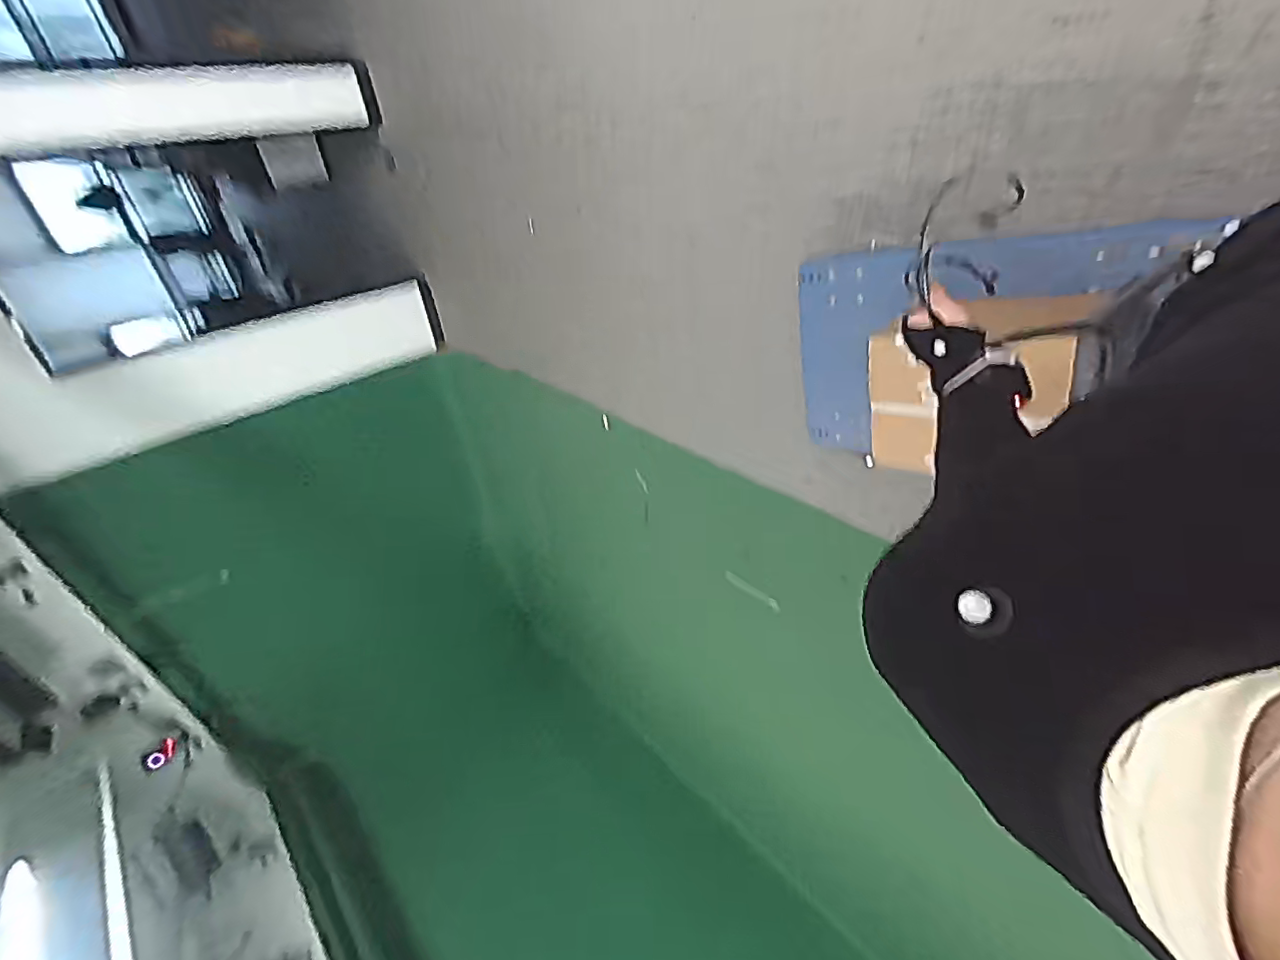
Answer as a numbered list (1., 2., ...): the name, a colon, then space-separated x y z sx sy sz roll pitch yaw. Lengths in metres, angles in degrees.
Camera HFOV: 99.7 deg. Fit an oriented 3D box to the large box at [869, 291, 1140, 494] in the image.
1. large box: 0.769 -0.208 1.174 0.408 0.320 0.320 18 129 47
